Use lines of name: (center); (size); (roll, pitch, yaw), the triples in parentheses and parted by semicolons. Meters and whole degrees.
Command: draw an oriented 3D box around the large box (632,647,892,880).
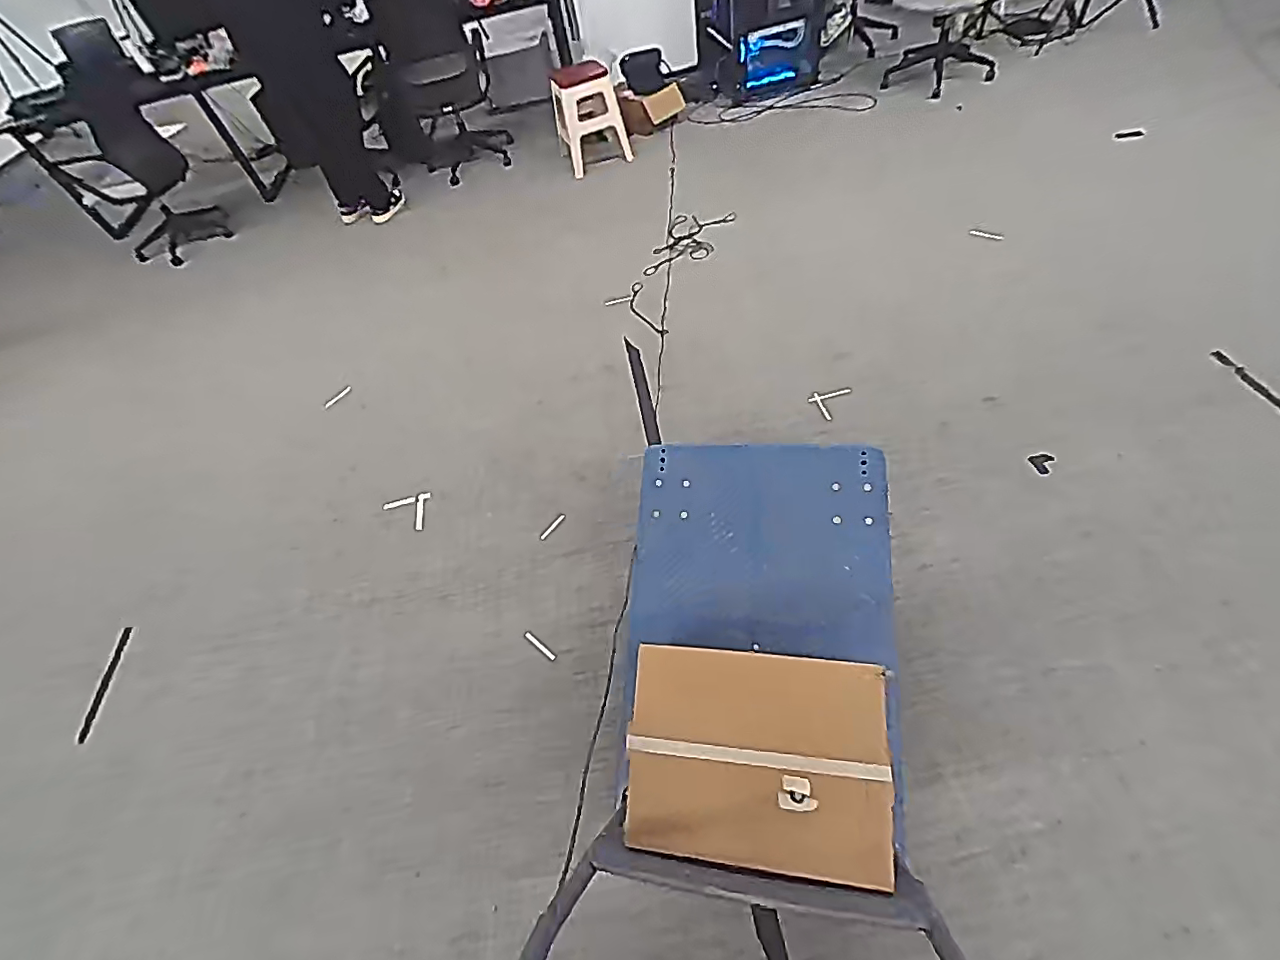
large box: (0.216, 0.493, 1.021); (0.408, 0.320, 0.320); (1, 73, 12)
